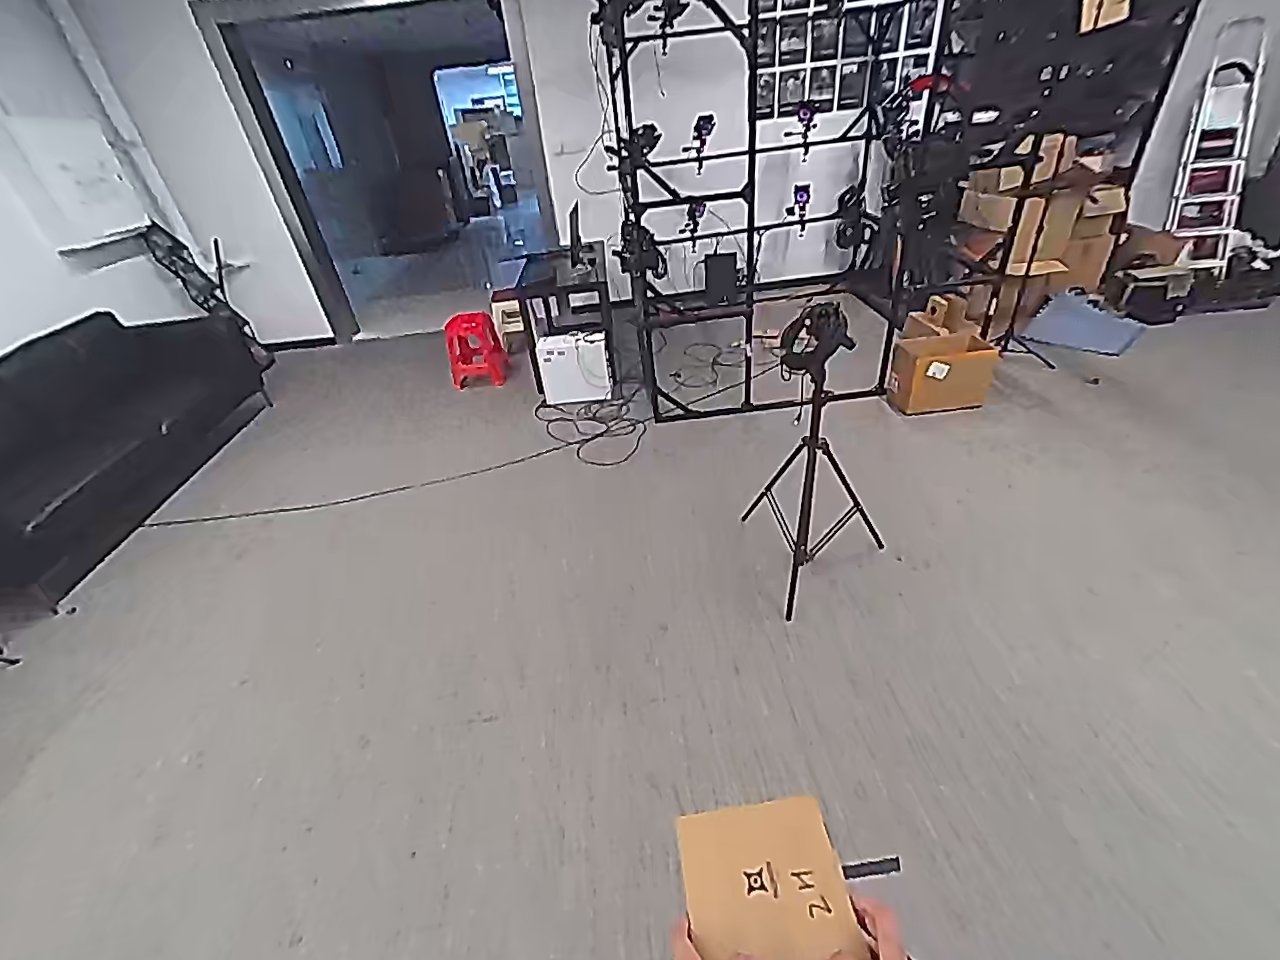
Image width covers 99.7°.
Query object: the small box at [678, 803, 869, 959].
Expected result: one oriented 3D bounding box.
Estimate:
[{"bbox_3d":[0.147,0.512,0.627,0.179,0.176,0.168,-9,31,2],"label":"small box"}]
